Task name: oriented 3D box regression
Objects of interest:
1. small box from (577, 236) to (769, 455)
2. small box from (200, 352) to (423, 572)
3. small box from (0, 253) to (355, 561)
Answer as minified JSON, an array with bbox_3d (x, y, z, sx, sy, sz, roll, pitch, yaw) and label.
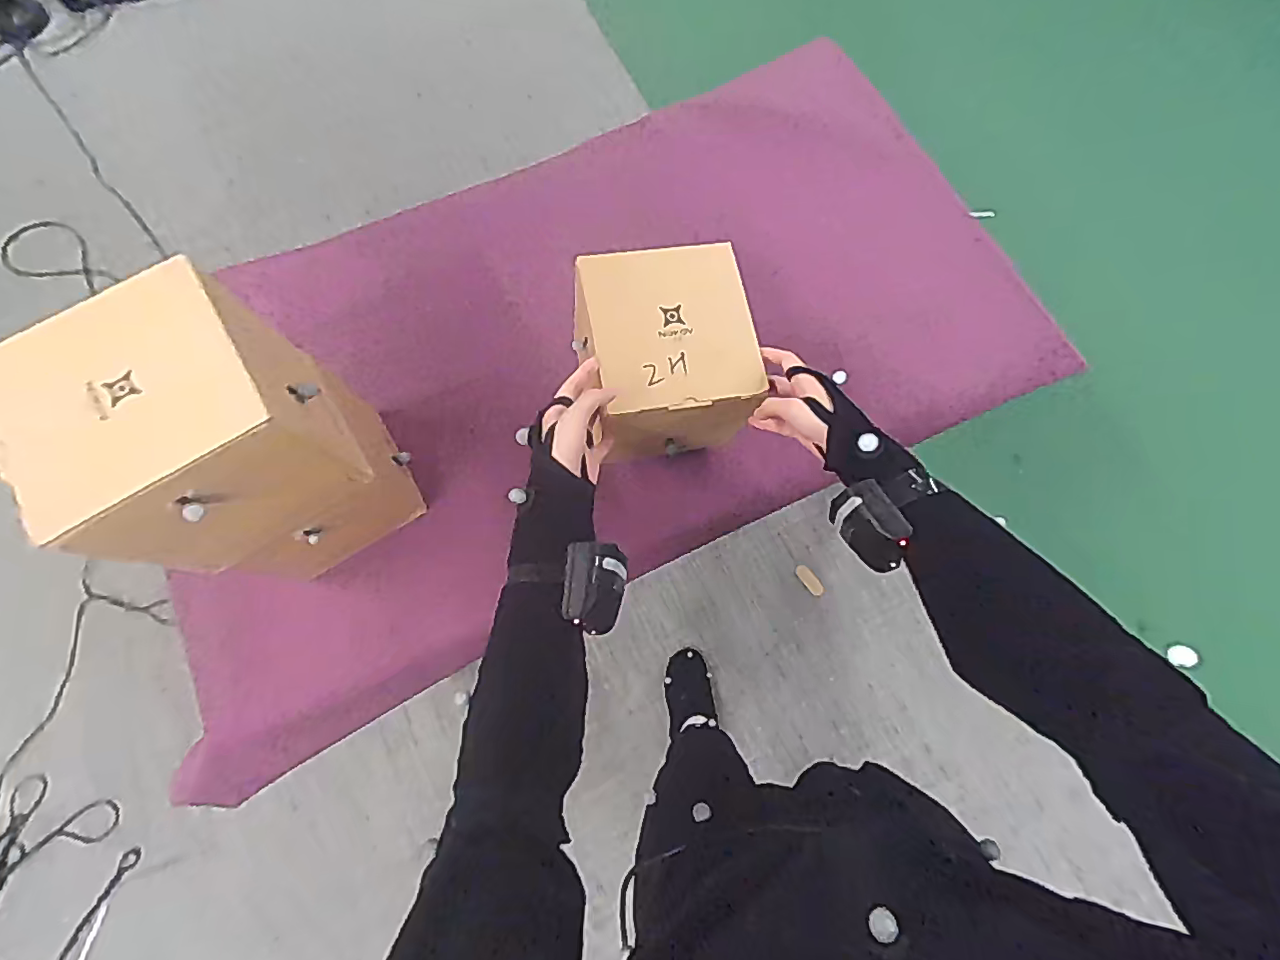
[{"bbox_3d":[0.022,-0.141,0.607,0.168,0.176,0.179,-9,79,-9],"label":"small box"},{"bbox_3d":[-0.388,-0.007,0.624,0.179,0.176,0.168,-31,78,-8],"label":"small box"},{"bbox_3d":[-0.382,-0.047,0.467,0.179,0.176,0.168,-33,79,-7],"label":"small box"}]
